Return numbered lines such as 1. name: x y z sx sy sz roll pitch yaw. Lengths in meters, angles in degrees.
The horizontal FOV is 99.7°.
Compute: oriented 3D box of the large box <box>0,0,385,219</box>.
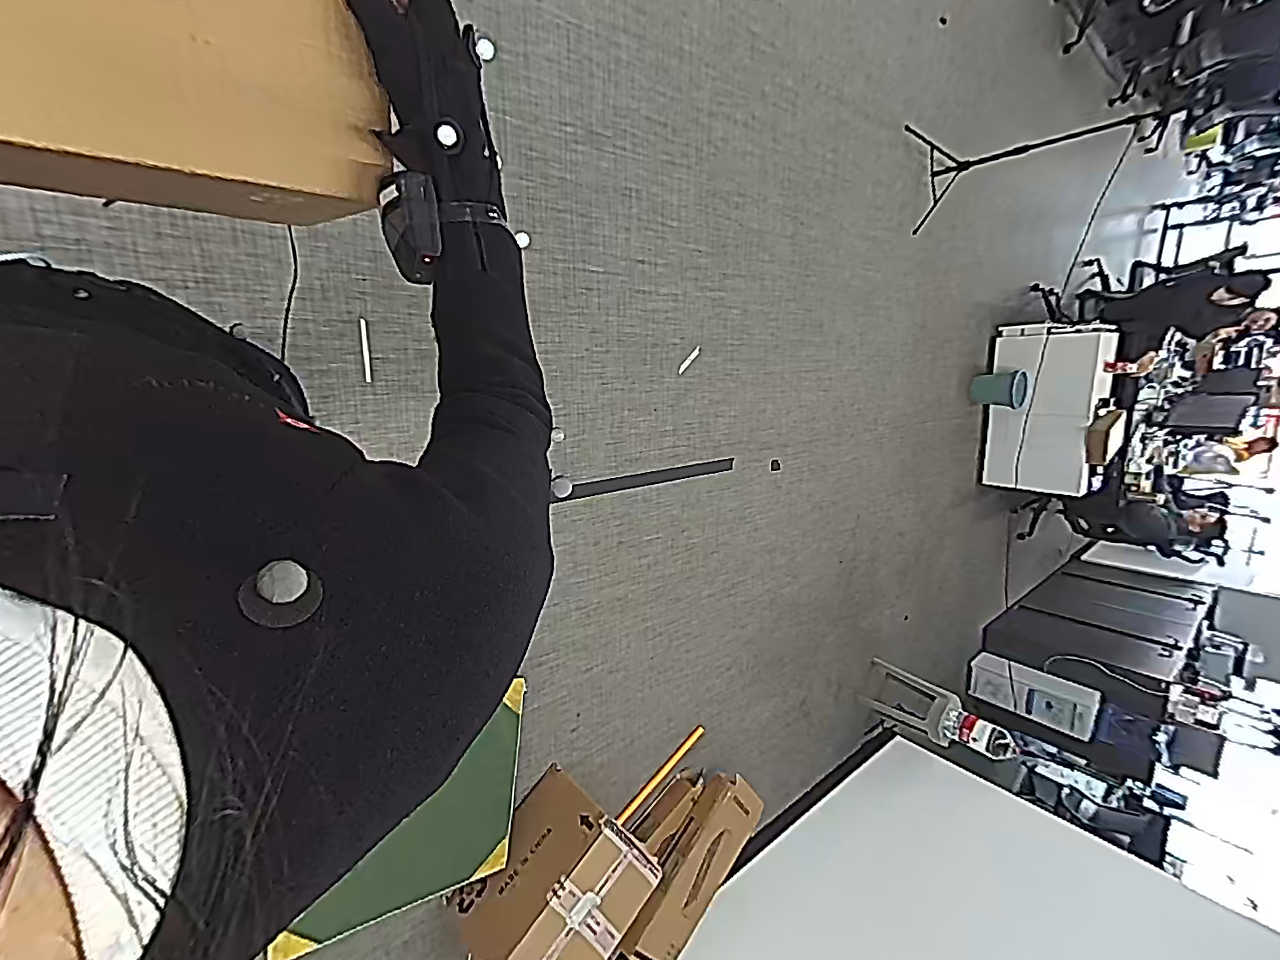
1. large box: -0.440 -0.379 0.363 0.408 0.320 0.320 -11 114 -39
